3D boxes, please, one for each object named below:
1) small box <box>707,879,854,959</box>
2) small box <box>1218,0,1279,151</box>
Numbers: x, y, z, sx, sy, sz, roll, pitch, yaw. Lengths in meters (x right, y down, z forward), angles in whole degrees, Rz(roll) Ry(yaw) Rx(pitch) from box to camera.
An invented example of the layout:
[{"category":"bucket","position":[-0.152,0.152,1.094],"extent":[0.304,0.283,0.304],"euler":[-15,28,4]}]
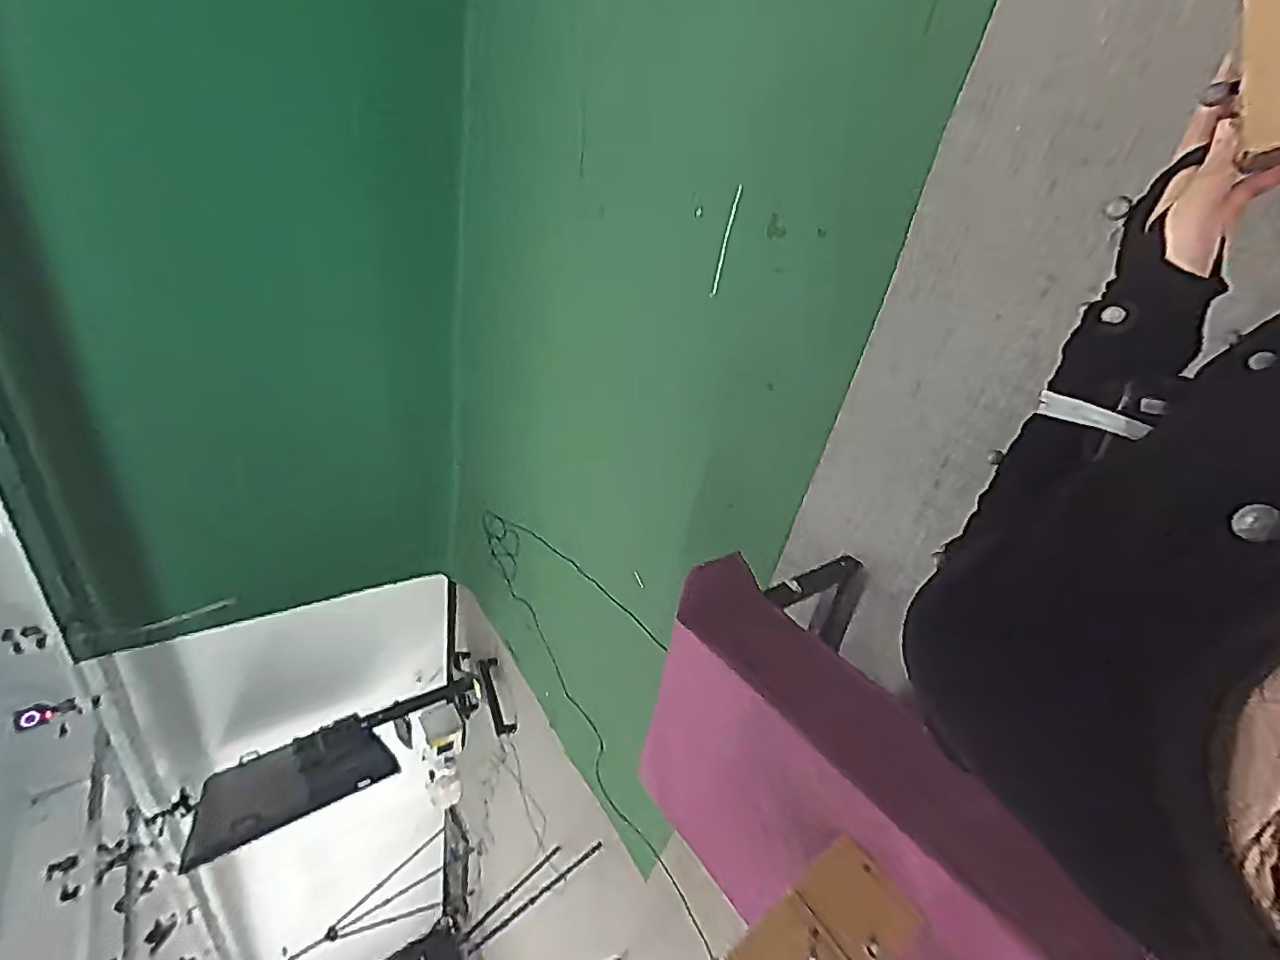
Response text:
[{"category":"small box","position":[0.218,0.795,0.860],"extent":[0.168,0.176,0.179],"euler":[41,130,38]},{"category":"small box","position":[0.388,-0.274,0.245],"extent":[0.168,0.176,0.179],"euler":[2,110,47]}]
